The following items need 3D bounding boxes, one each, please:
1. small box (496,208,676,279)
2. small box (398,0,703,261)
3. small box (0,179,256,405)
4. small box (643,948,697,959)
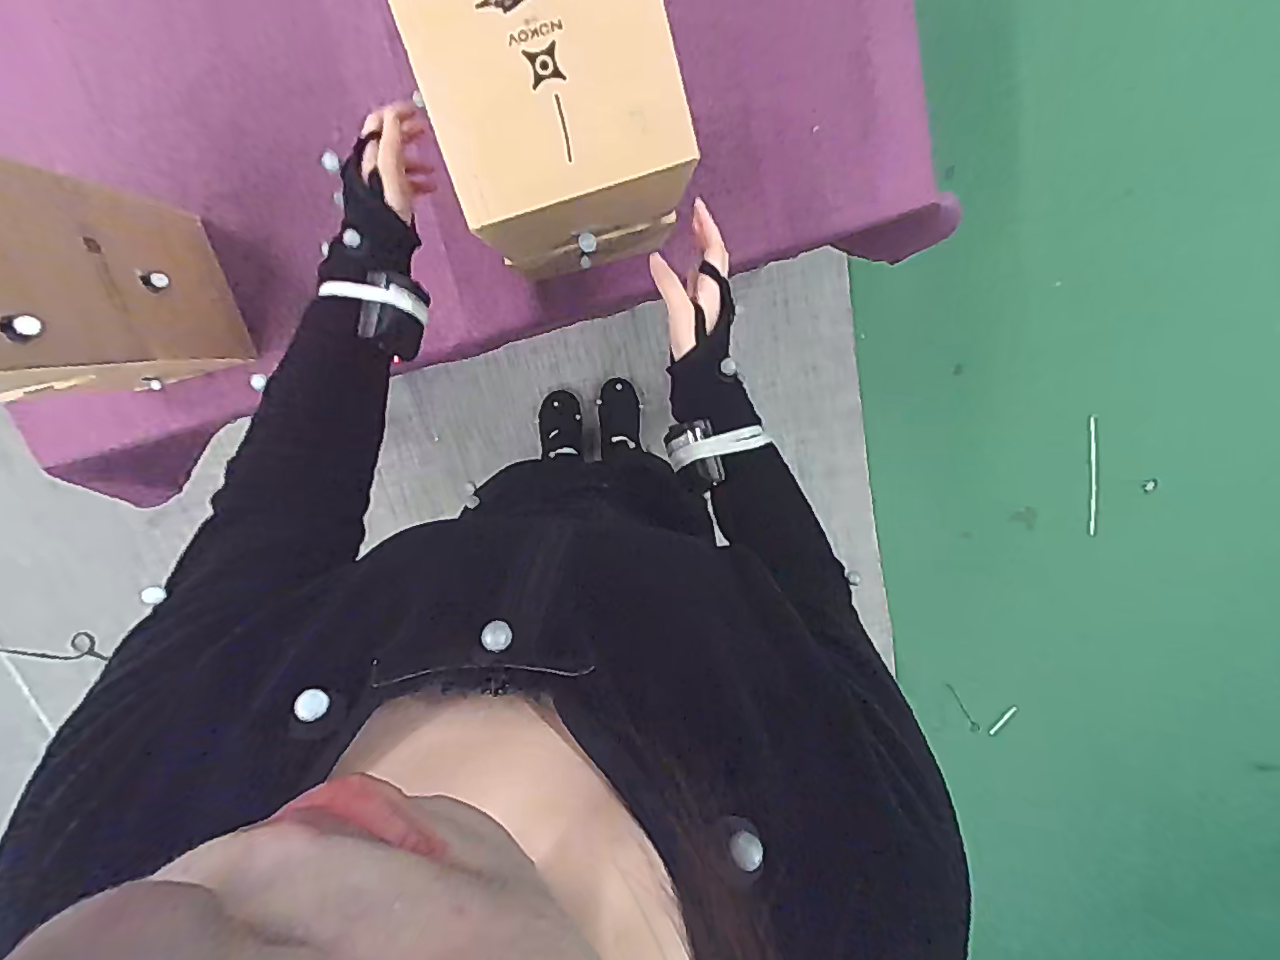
[{"bbox_3d":[-0.070,-0.325,0.583,0.179,0.176,0.168,-15,106,0],"label":"small box"},{"bbox_3d":[-0.063,-0.291,0.421,0.168,0.176,0.179,-17,106,1],"label":"small box"},{"bbox_3d":[-0.575,-0.192,0.587,0.168,0.176,0.179,-15,106,0],"label":"small box"},{"bbox_3d":[0.089,1.460,1.501,0.179,0.176,0.168,-13,107,0],"label":"small box"}]
